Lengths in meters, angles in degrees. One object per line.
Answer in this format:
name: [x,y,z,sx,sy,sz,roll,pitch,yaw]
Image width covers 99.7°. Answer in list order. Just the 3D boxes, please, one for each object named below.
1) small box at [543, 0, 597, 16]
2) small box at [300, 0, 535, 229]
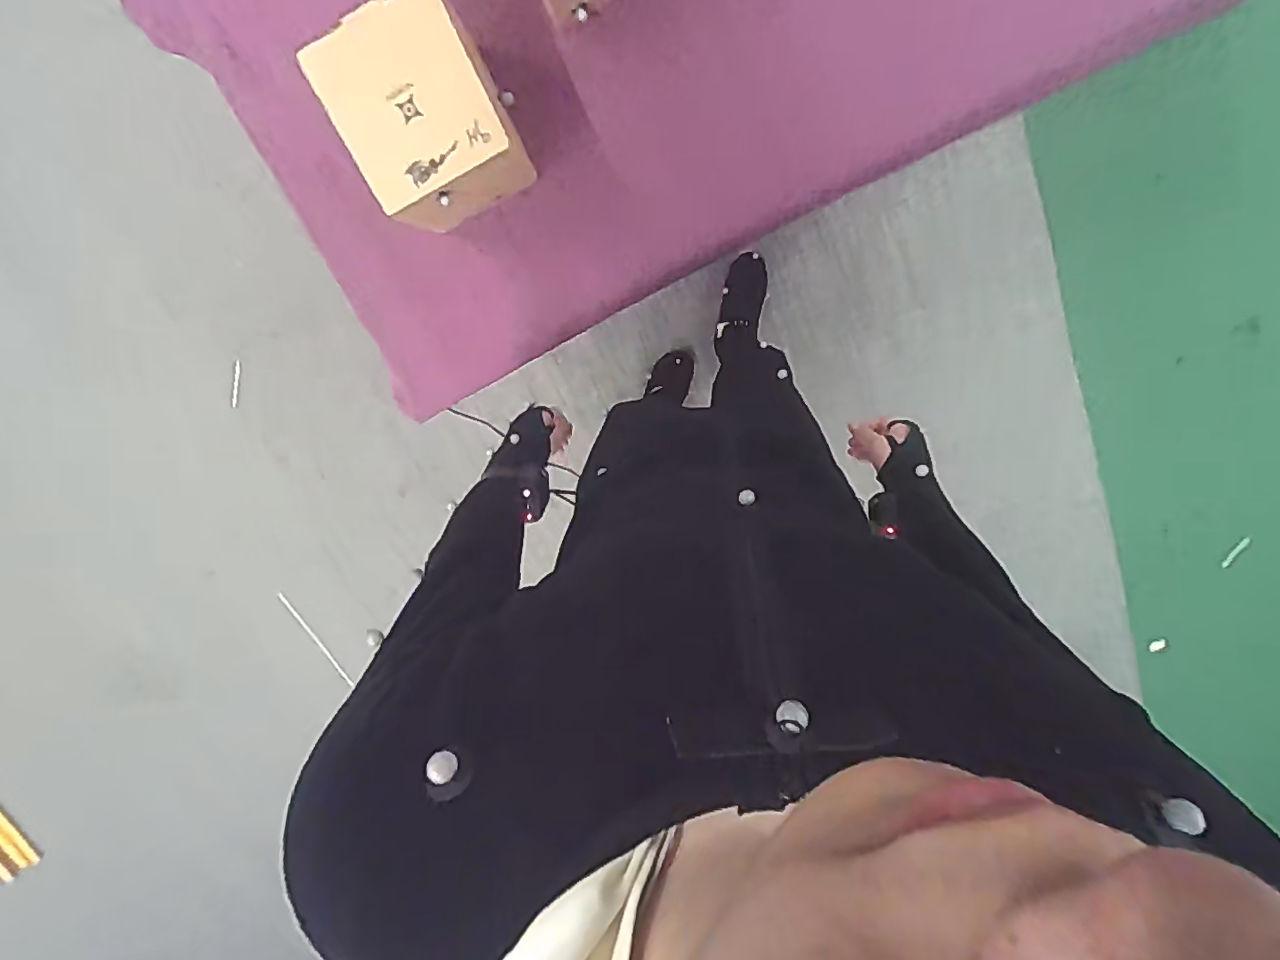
small box: [-0.072,-0.658,0.583,0.168,0.176,0.179,-26,105,8]
small box: [-0.250,-0.432,0.656,0.168,0.176,0.179,-24,106,9]
